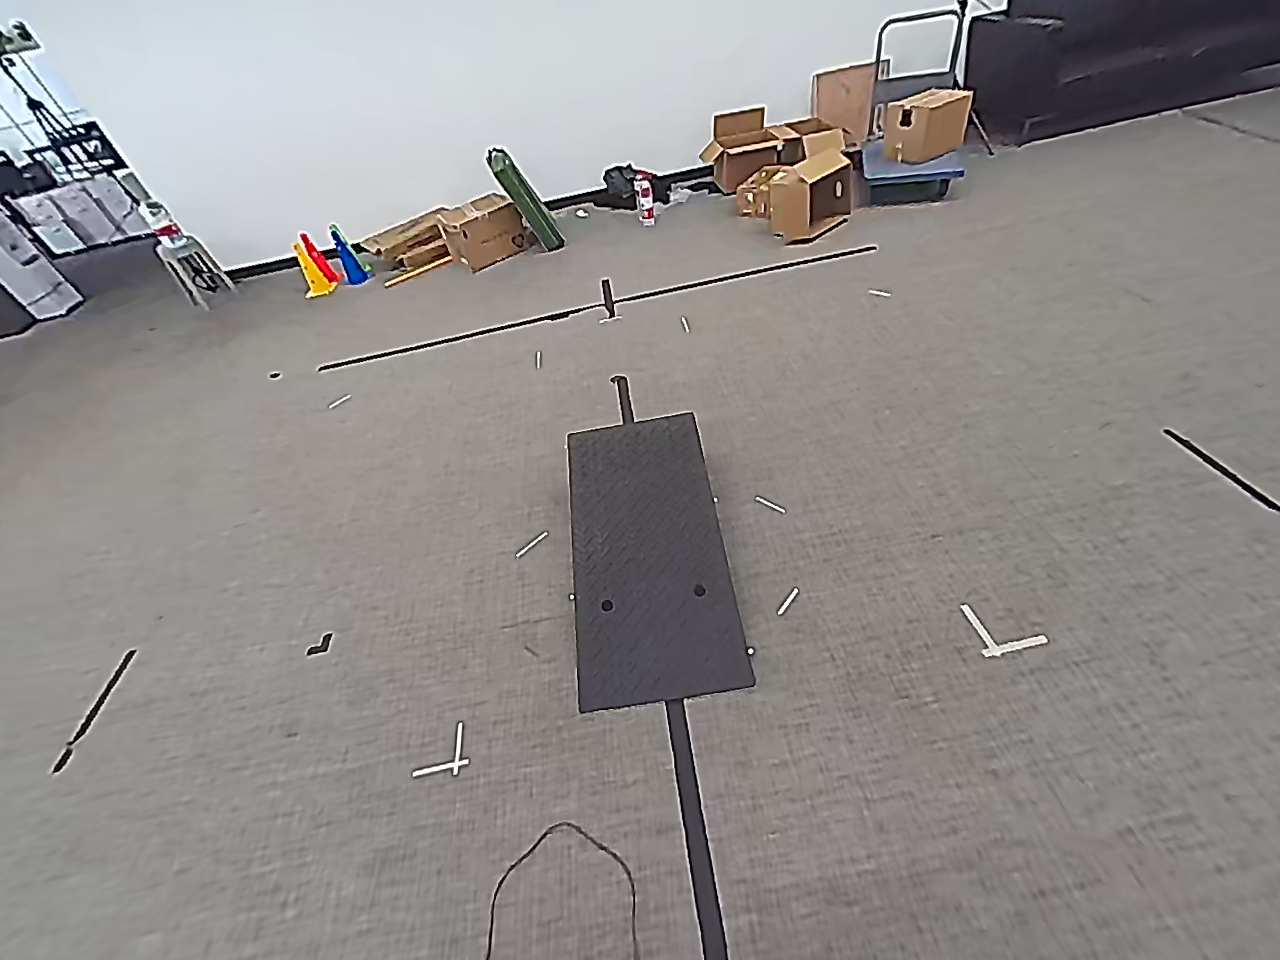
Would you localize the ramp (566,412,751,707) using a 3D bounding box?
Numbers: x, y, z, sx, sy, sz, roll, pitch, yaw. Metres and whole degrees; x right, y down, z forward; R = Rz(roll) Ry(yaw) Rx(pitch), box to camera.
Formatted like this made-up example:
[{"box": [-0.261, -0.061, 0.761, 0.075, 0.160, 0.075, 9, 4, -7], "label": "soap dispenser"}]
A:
[{"box": [0.016, 0.189, 1.770, 0.509, 0.206, 0.991, -10, 45, 1], "label": "ramp"}]
